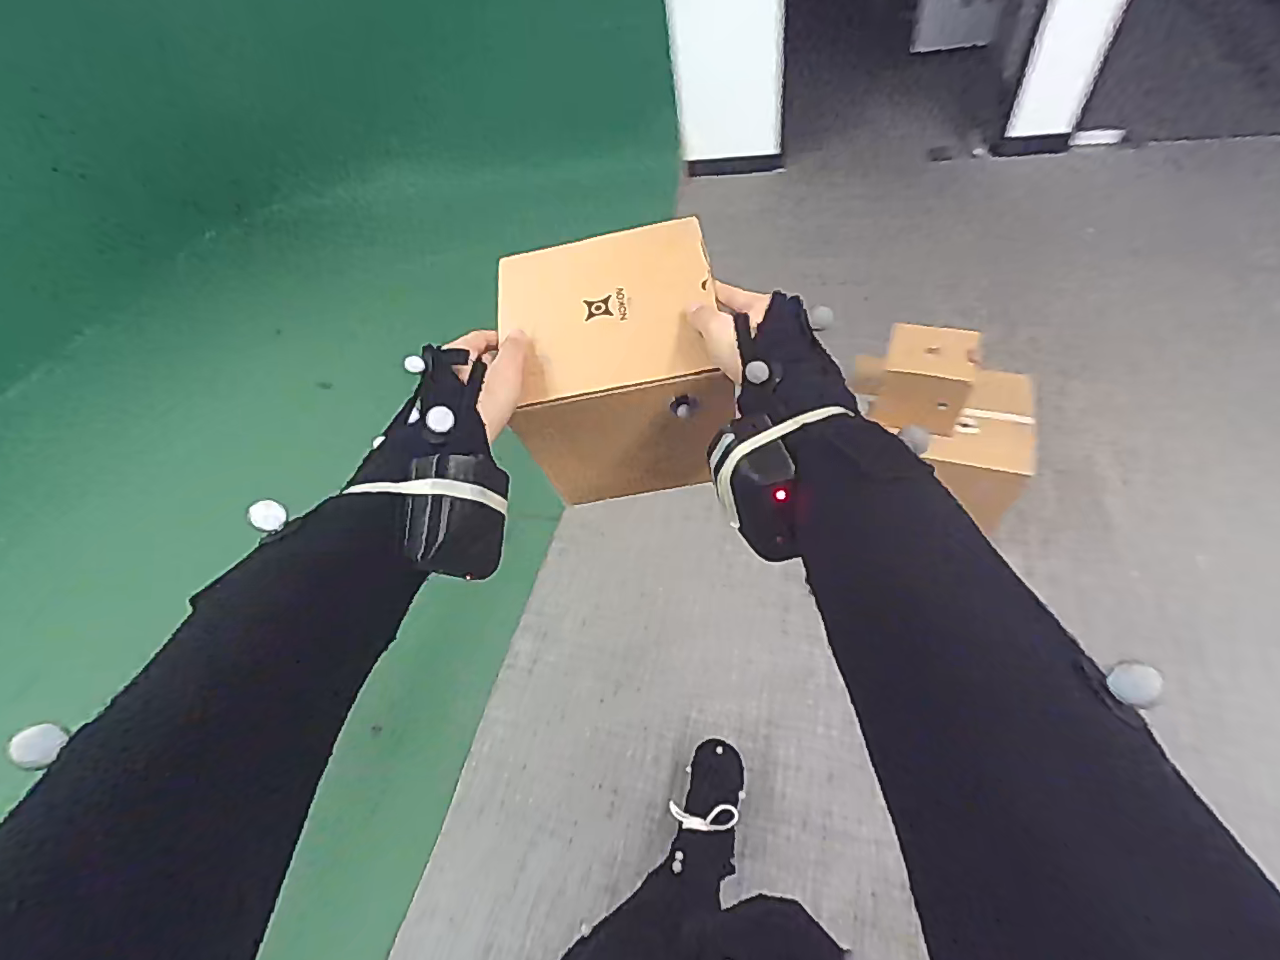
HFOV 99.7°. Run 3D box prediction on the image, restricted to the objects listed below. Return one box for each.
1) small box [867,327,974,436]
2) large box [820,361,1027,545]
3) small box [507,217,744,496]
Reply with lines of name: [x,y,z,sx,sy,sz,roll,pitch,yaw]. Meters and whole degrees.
small box: [0.629,-0.221,1.224,0.179,0.176,0.168,12,55,21]
large box: [0.710,-0.072,1.404,0.408,0.320,0.320,12,58,19]
small box: [-0.005,-0.099,0.492,0.179,0.176,0.168,-9,60,5]
